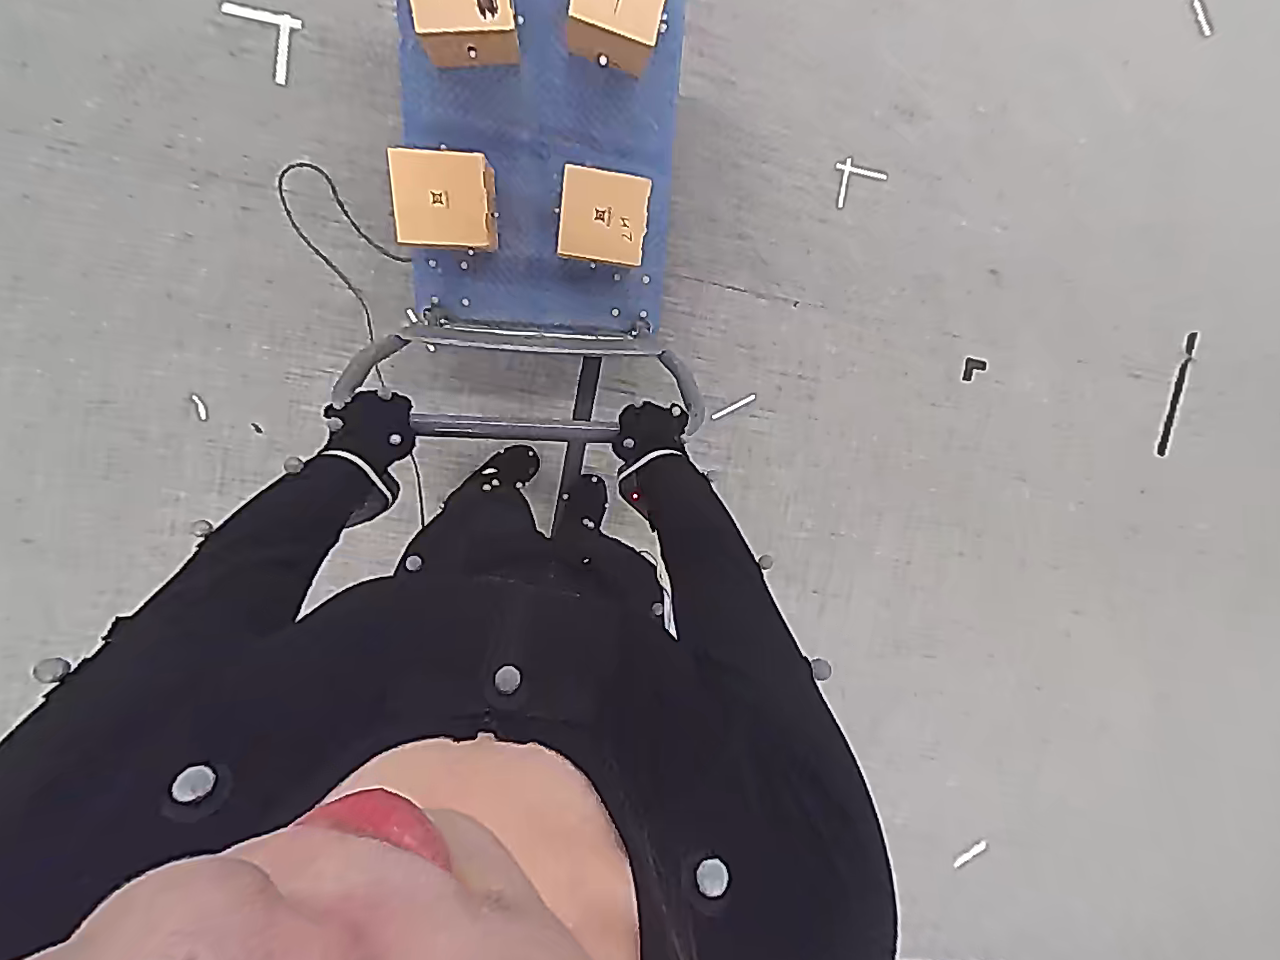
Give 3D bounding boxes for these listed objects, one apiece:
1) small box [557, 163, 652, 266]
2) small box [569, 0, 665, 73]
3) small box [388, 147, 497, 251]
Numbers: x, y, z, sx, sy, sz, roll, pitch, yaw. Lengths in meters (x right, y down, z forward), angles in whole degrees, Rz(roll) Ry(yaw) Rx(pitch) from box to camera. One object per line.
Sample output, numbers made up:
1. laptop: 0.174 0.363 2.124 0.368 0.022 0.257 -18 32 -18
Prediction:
1. small box: -0.082 -0.557 1.158 0.179 0.176 0.168 5 109 -10
2. small box: -0.041 -0.926 1.030 0.168 0.176 0.179 11 109 -12
3. small box: -0.396 -0.567 1.111 0.179 0.176 0.168 -2 110 -9
